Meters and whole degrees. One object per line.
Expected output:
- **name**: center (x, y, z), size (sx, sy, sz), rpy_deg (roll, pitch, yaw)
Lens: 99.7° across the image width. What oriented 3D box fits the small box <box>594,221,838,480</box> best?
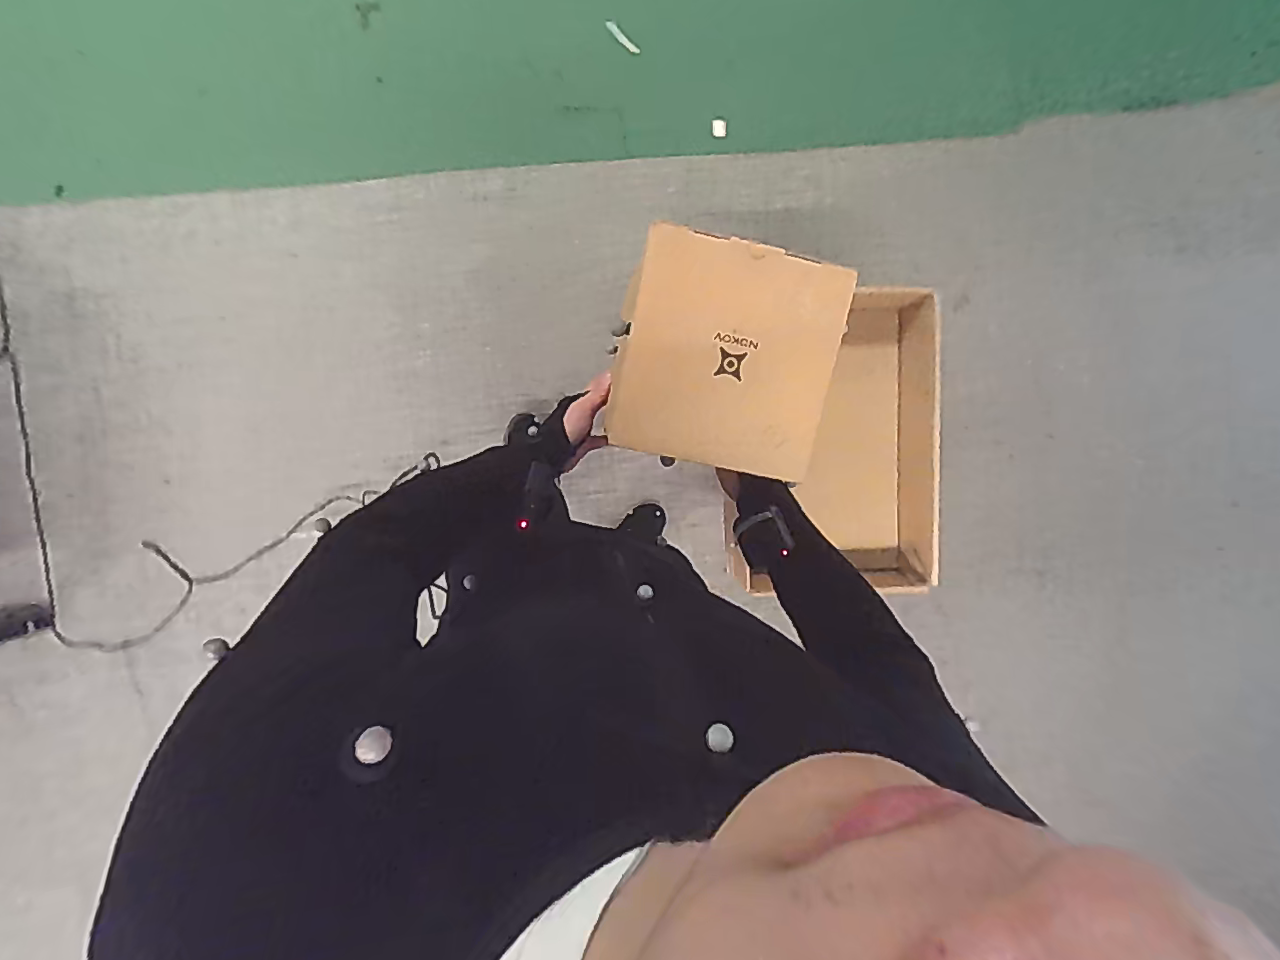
- **small box**: center (0.055, -0.110, 0.506), size (0.168, 0.176, 0.179), rpy_deg (10, 98, -6)
